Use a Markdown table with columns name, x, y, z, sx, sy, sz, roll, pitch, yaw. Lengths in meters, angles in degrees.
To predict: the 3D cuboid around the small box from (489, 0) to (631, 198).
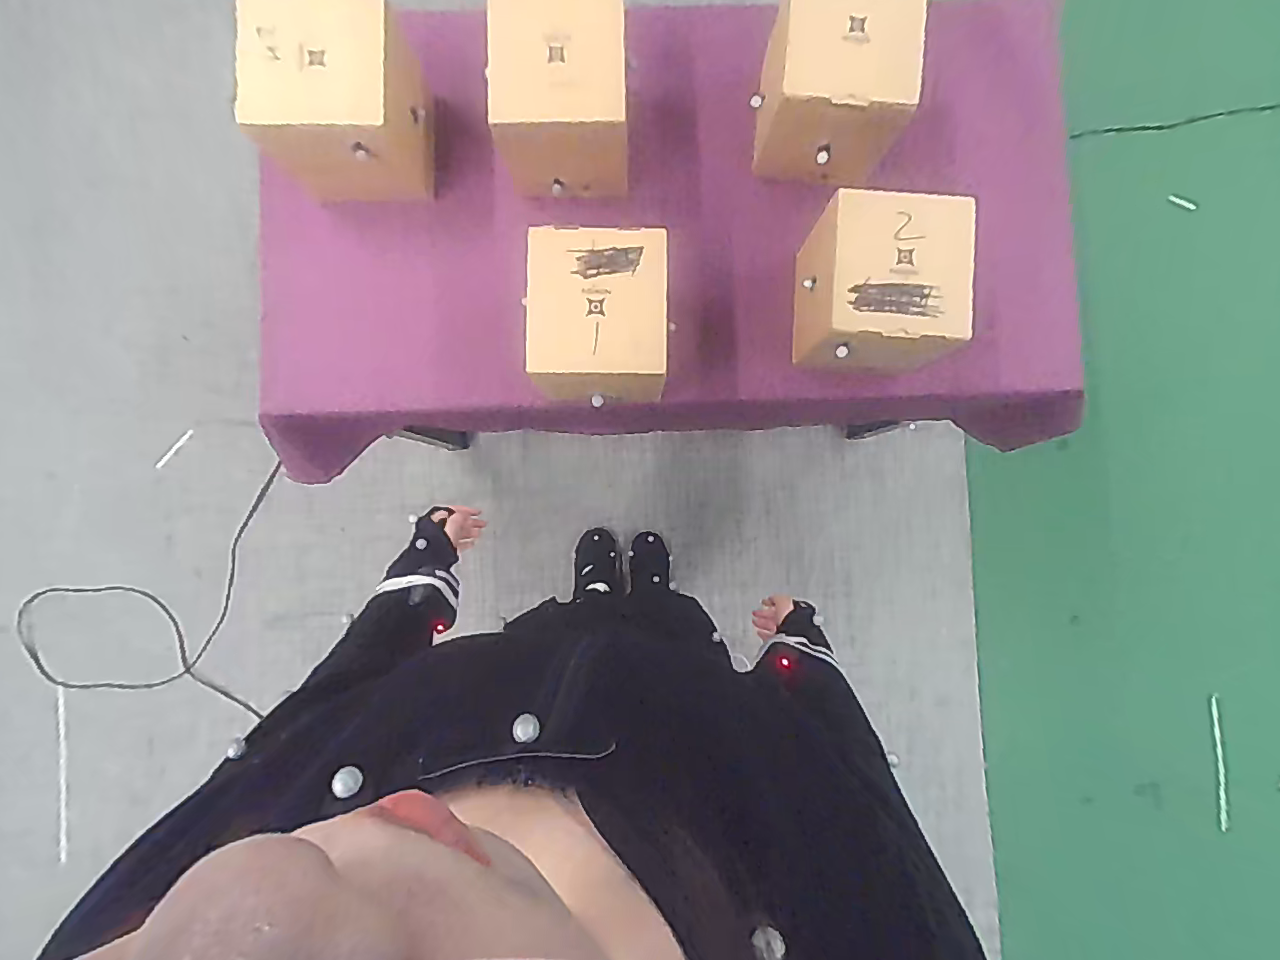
| name | x | y | z | sx | sy | sz | roll | pitch | yaw |
| --- | --- | --- | --- | --- | --- | --- | --- | --- | --- |
| small box | -0.097 | -0.511 | 0.725 | 0.168 | 0.176 | 0.179 | 0 | 88 | 0 |

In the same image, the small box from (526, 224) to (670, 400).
| name | x | y | z | sx | sy | sz | roll | pitch | yaw |
| --- | --- | --- | --- | --- | --- | --- | --- | --- | --- |
| small box | -0.050 | -0.209 | 0.711 | 0.168 | 0.176 | 0.179 | 1 | 88 | 0 |

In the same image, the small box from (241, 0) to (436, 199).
| name | x | y | z | sx | sy | sz | roll | pitch | yaw |
| --- | --- | --- | --- | --- | --- | --- | --- | --- | --- |
| small box | -0.385 | -0.499 | 0.721 | 0.179 | 0.176 | 0.168 | 0 | 88 | 0 |

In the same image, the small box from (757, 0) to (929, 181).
| name | x | y | z | sx | sy | sz | roll | pitch | yaw |
| --- | --- | --- | --- | --- | --- | --- | --- | --- | --- |
| small box | 0.259 | -0.534 | 0.725 | 0.168 | 0.176 | 0.179 | 6 | 89 | -1 |
